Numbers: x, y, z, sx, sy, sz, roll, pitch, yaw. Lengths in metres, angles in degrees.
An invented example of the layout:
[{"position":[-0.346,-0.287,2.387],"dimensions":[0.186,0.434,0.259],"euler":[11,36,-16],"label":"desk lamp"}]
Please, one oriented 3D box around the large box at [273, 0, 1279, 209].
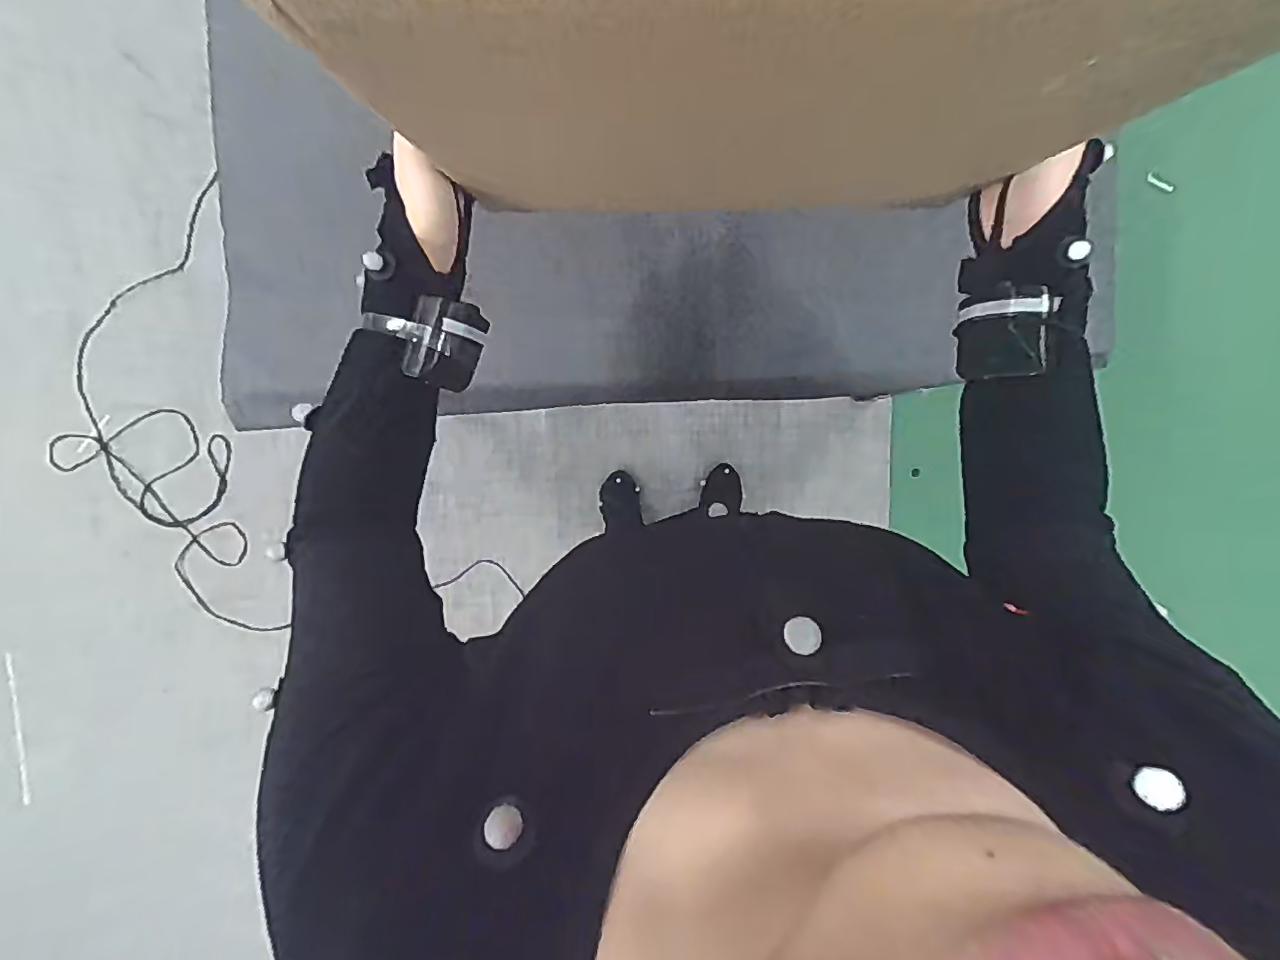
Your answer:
[{"position":[0.059,-0.355,0.292],"dimensions":[0.408,0.320,0.320],"euler":[-2,106,0],"label":"large box"}]
